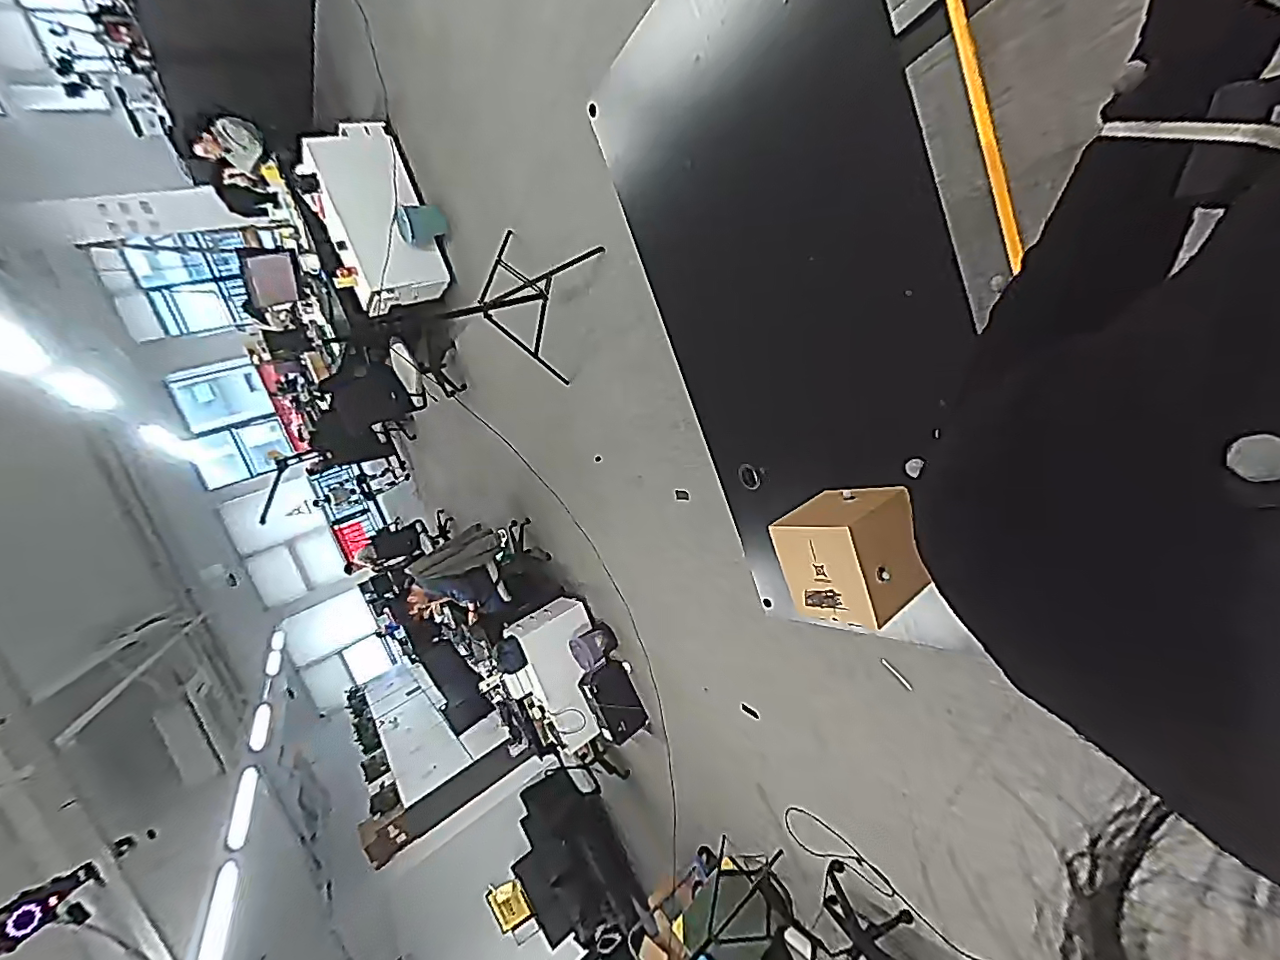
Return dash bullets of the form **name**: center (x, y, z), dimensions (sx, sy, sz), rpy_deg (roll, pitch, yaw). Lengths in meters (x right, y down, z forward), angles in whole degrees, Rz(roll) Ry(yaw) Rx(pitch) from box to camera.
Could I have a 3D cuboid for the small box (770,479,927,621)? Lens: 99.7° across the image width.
- **small box**: center (0.360, 0.112, 0.927), dimensions (0.168, 0.176, 0.179), rpy_deg (-6, 106, 58)
